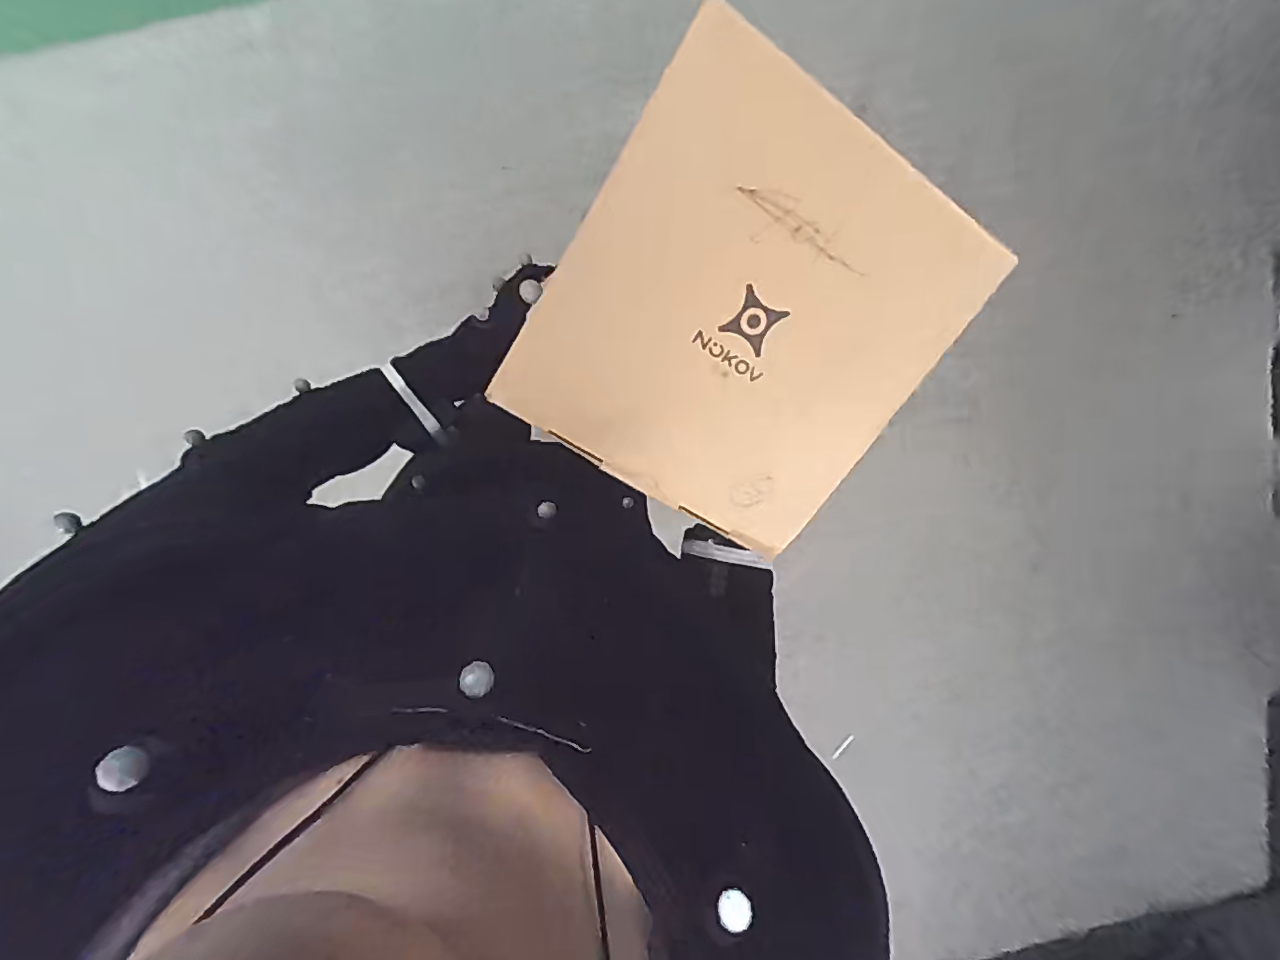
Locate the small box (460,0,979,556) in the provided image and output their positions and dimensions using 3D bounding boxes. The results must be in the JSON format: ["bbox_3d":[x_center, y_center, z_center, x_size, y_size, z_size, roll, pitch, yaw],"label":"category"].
[{"bbox_3d":[0.028,-0.095,0.309,0.168,0.176,0.179,30,106,-15],"label":"small box"}]
